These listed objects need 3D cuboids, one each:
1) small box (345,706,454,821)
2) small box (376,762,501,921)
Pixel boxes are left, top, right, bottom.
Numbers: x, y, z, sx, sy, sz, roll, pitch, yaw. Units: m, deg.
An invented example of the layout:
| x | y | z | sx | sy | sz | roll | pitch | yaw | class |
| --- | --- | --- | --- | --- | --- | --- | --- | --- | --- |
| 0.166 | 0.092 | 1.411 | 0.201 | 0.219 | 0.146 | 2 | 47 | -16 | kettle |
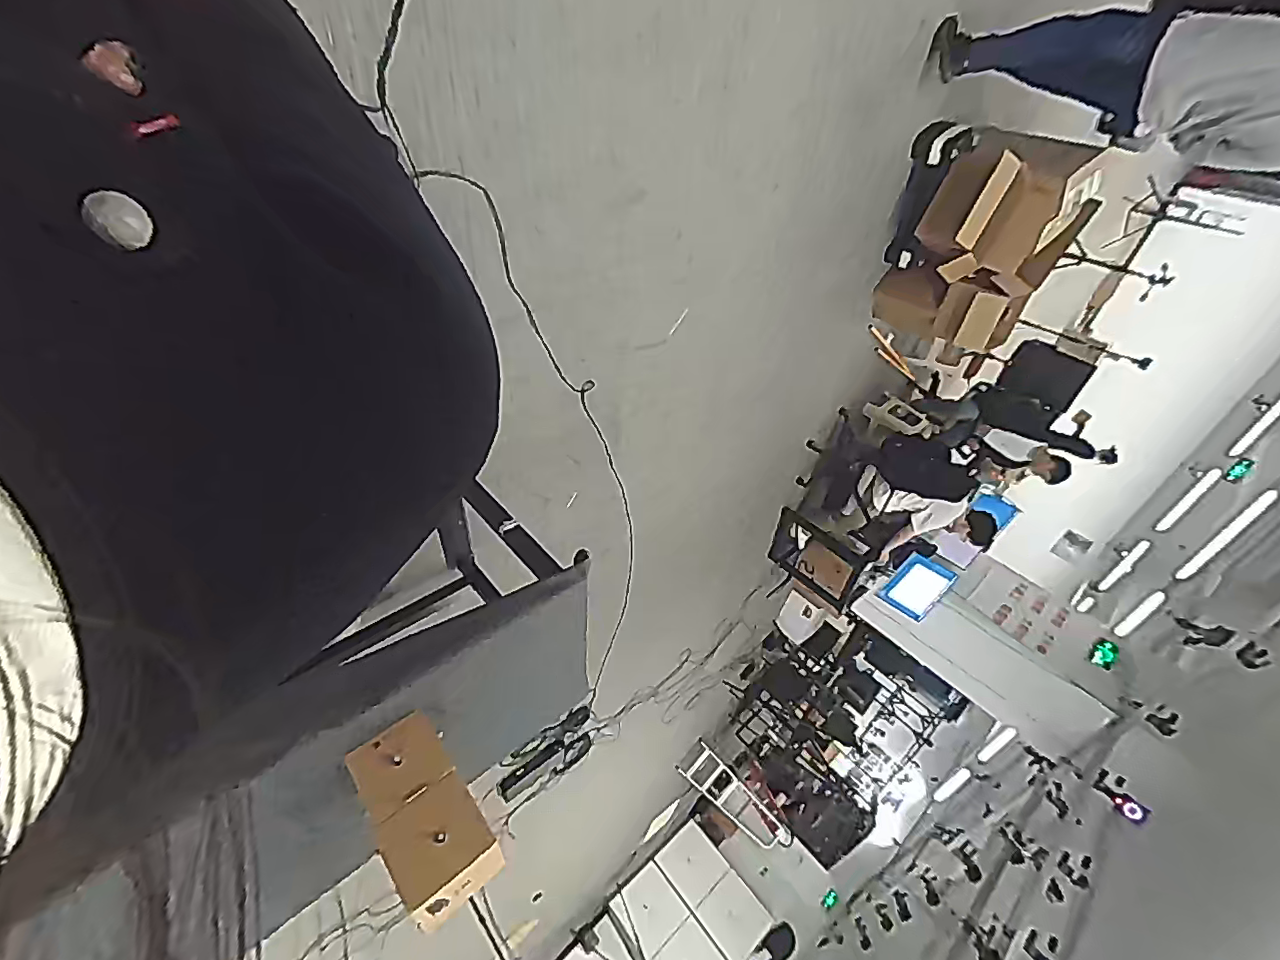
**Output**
| x | y | z | sx | sy | sz | roll | pitch | yaw | class |
| --- | --- | --- | --- | --- | --- | --- | --- | --- | --- |
| -0.508 | 0.625 | 1.169 | 0.168 | 0.176 | 0.179 | -29 | 142 | -32 | small box |
| -0.403 | 0.713 | 1.078 | 0.179 | 0.176 | 0.168 | -29 | 142 | -34 | small box |
